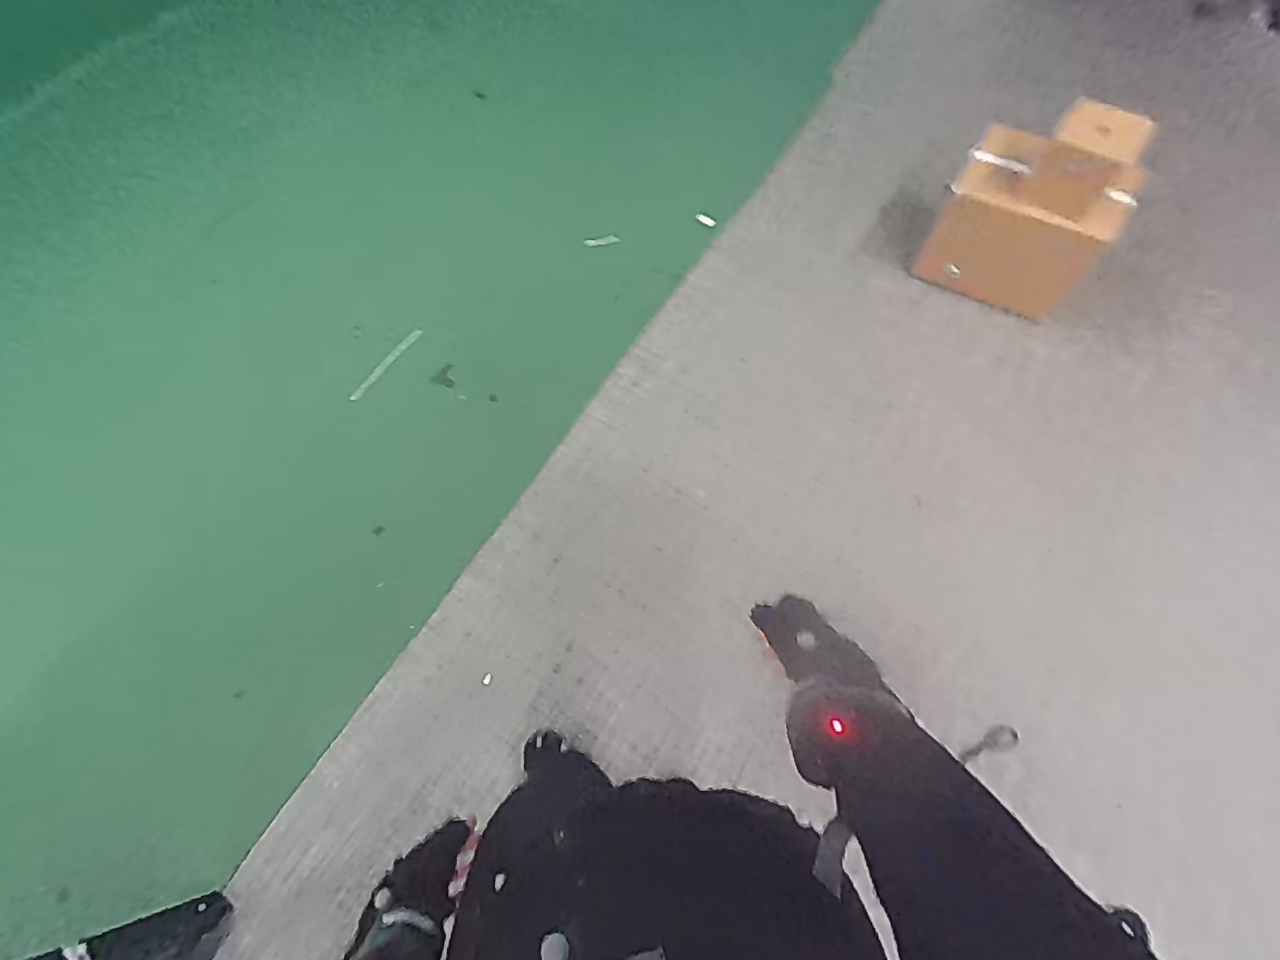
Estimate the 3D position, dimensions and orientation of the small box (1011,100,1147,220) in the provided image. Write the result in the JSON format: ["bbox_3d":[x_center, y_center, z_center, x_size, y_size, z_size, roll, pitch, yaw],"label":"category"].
[{"bbox_3d":[1.070,-0.783,1.336,0.179,0.176,0.168,35,76,16],"label":"small box"}]
